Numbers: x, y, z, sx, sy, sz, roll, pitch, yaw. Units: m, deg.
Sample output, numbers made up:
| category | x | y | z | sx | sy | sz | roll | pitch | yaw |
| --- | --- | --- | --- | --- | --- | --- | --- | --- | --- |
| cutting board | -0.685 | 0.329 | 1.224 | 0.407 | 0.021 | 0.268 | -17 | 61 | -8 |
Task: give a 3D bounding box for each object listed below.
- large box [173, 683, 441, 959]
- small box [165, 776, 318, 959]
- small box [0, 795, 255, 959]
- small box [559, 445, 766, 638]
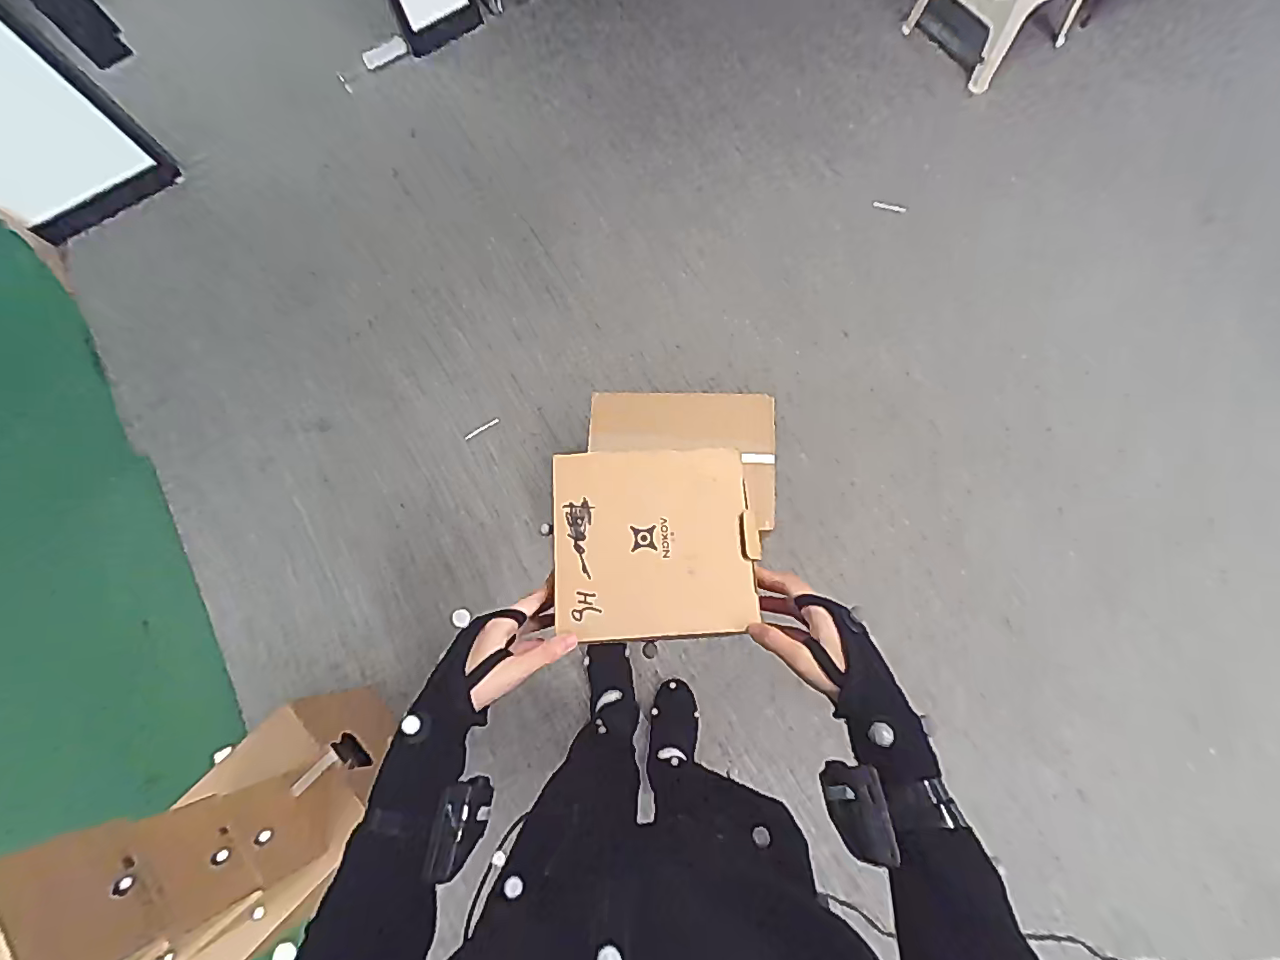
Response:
| category | x | y | z | sx | sy | sz | roll | pitch | yaw |
| --- | --- | --- | --- | --- | --- | --- | --- | --- | --- |
| large box | -0.724 | 0.709 | 1.159 | 0.320 | 0.320 | 0.408 | 43 | 82 | 15 |
| small box | -0.698 | 0.645 | 0.920 | 0.168 | 0.176 | 0.179 | -39 | 76 | -8 |
| small box | -0.708 | 0.592 | 0.767 | 0.179 | 0.176 | 0.168 | -38 | 76 | -8 |
| small box | 0.011 | 0.070 | 0.546 | 0.179 | 0.176 | 0.168 | -1 | 72 | -5 |
